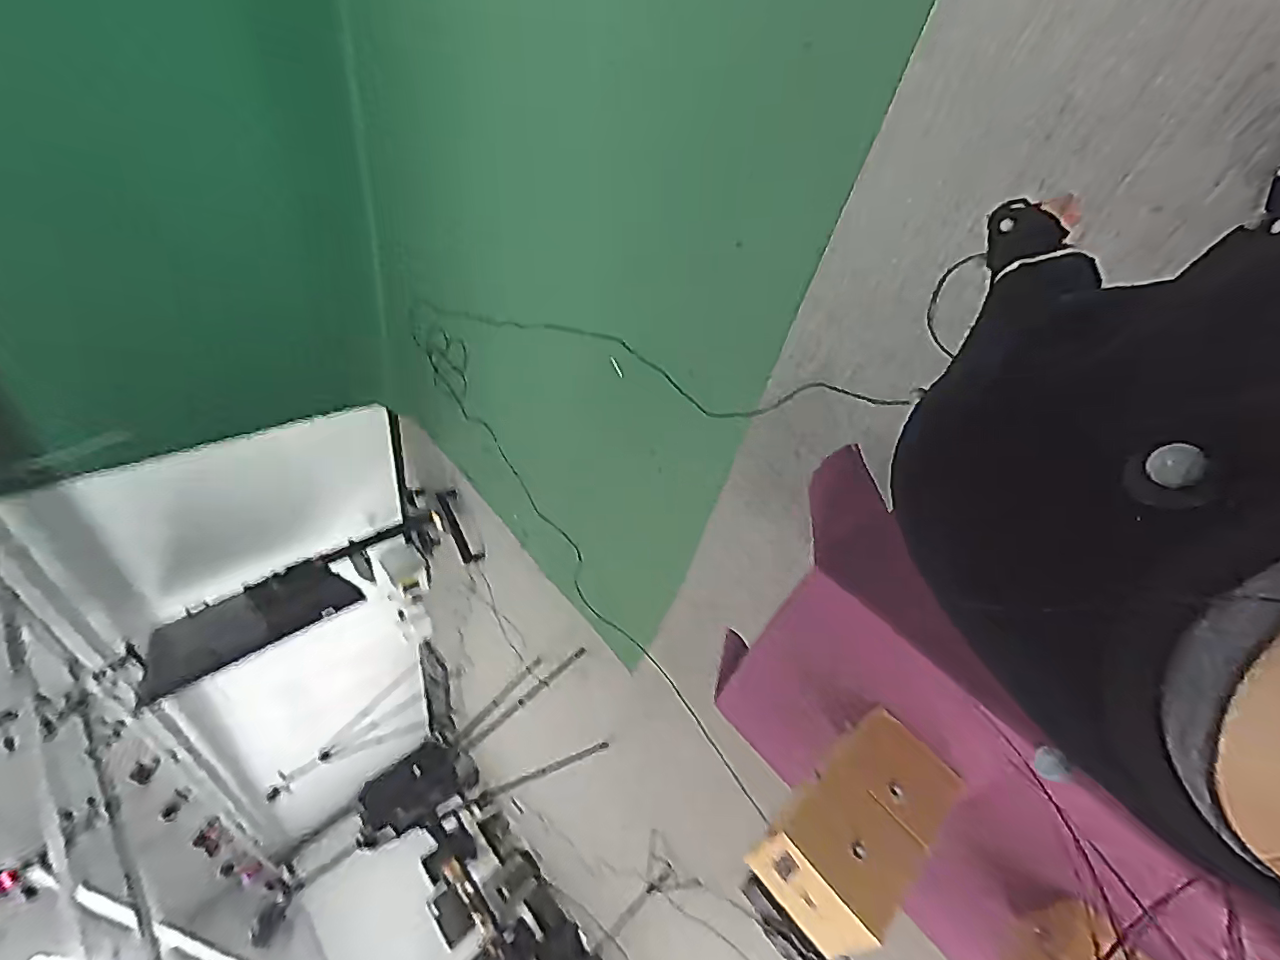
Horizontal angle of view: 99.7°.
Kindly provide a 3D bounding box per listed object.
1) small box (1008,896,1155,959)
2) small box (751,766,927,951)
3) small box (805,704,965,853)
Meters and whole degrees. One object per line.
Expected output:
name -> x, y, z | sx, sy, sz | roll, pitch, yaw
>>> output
small box -> 0.693, 0.791, 0.819 | 0.179, 0.176, 0.168 | 40, 137, 29
small box -> 0.321, 0.602, 0.880 | 0.179, 0.176, 0.168 | 43, 137, 25
small box -> 0.441, 0.549, 0.978 | 0.179, 0.176, 0.168 | 44, 138, 26
